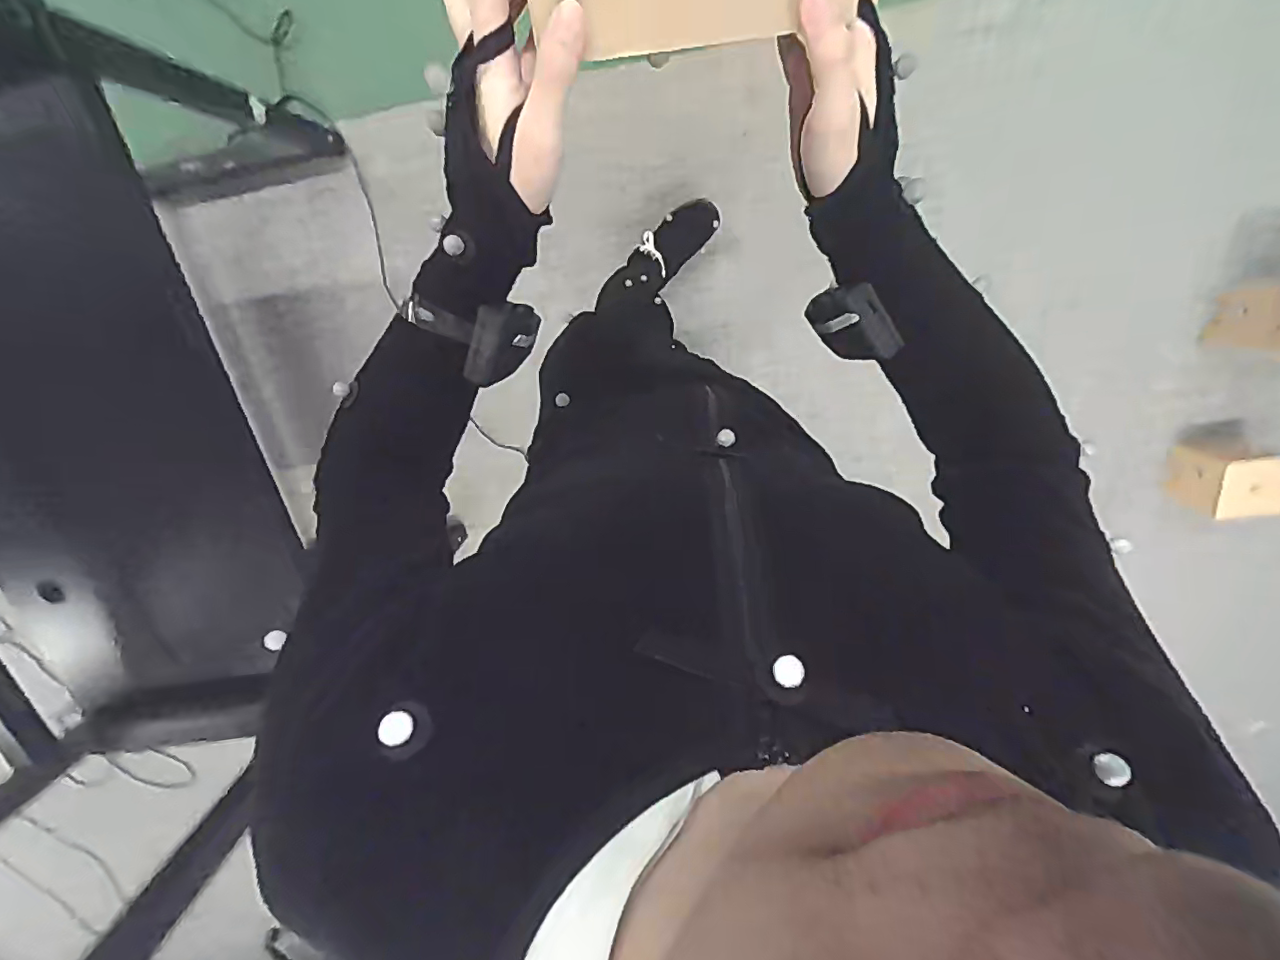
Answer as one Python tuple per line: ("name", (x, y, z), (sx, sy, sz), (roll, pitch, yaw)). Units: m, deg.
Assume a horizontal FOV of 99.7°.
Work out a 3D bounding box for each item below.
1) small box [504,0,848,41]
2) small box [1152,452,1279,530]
("small box", (0.014, -0.345, 0.285), (0.179, 0.176, 0.168), (-4, 134, 1))
("small box", (1.609, 0.027, 1.522), (0.179, 0.176, 0.168), (-6, 110, 4))
